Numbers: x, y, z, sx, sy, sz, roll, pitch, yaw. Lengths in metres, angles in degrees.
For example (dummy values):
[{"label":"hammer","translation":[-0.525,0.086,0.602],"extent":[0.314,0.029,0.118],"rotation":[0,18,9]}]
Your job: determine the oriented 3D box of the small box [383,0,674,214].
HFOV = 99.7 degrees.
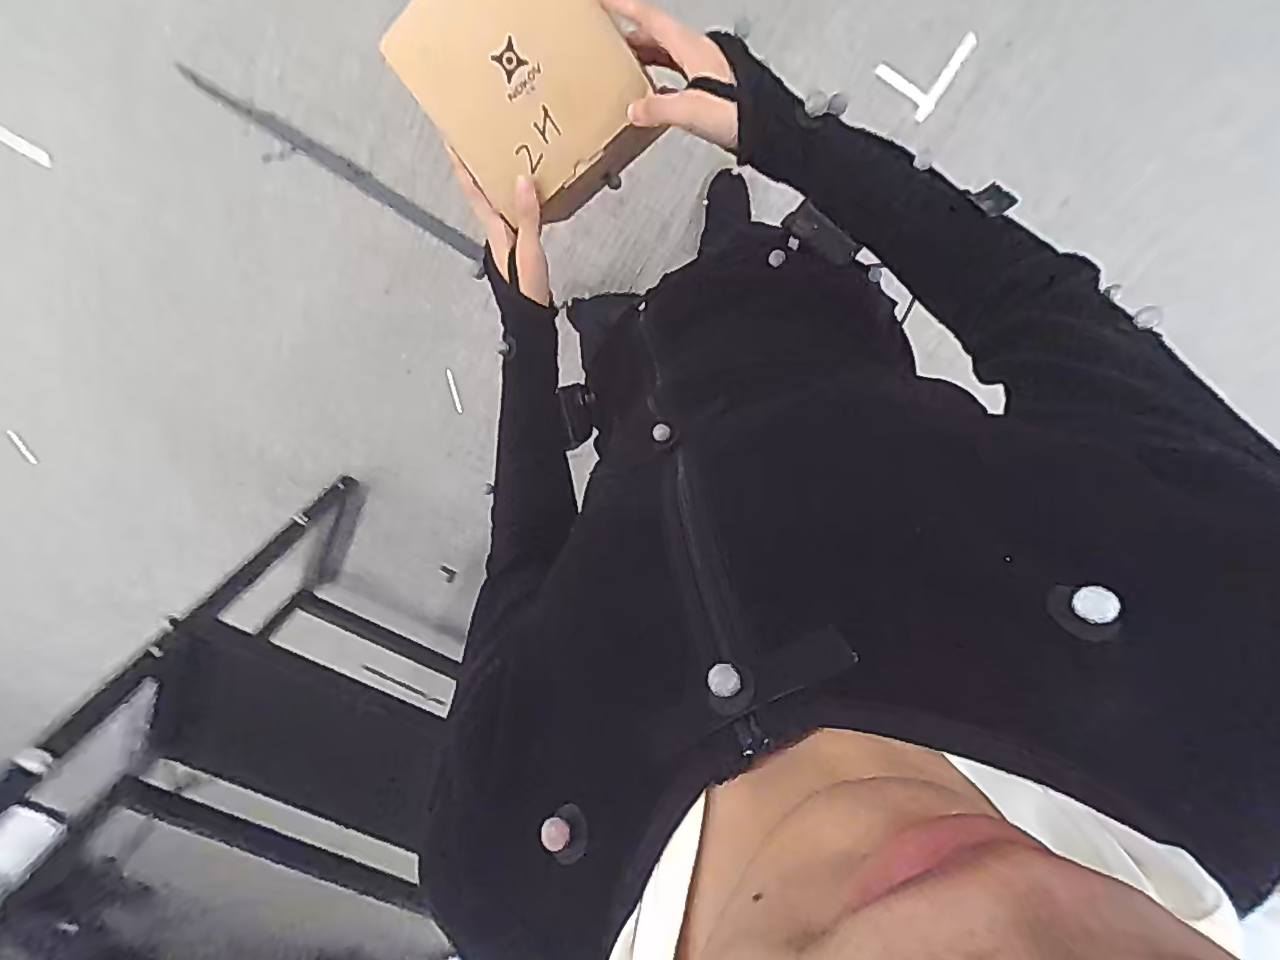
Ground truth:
[{"label":"small box","translation":[-0.083,-0.374,0.499],"extent":[0.168,0.176,0.179],"rotation":[-29,111,22]}]
